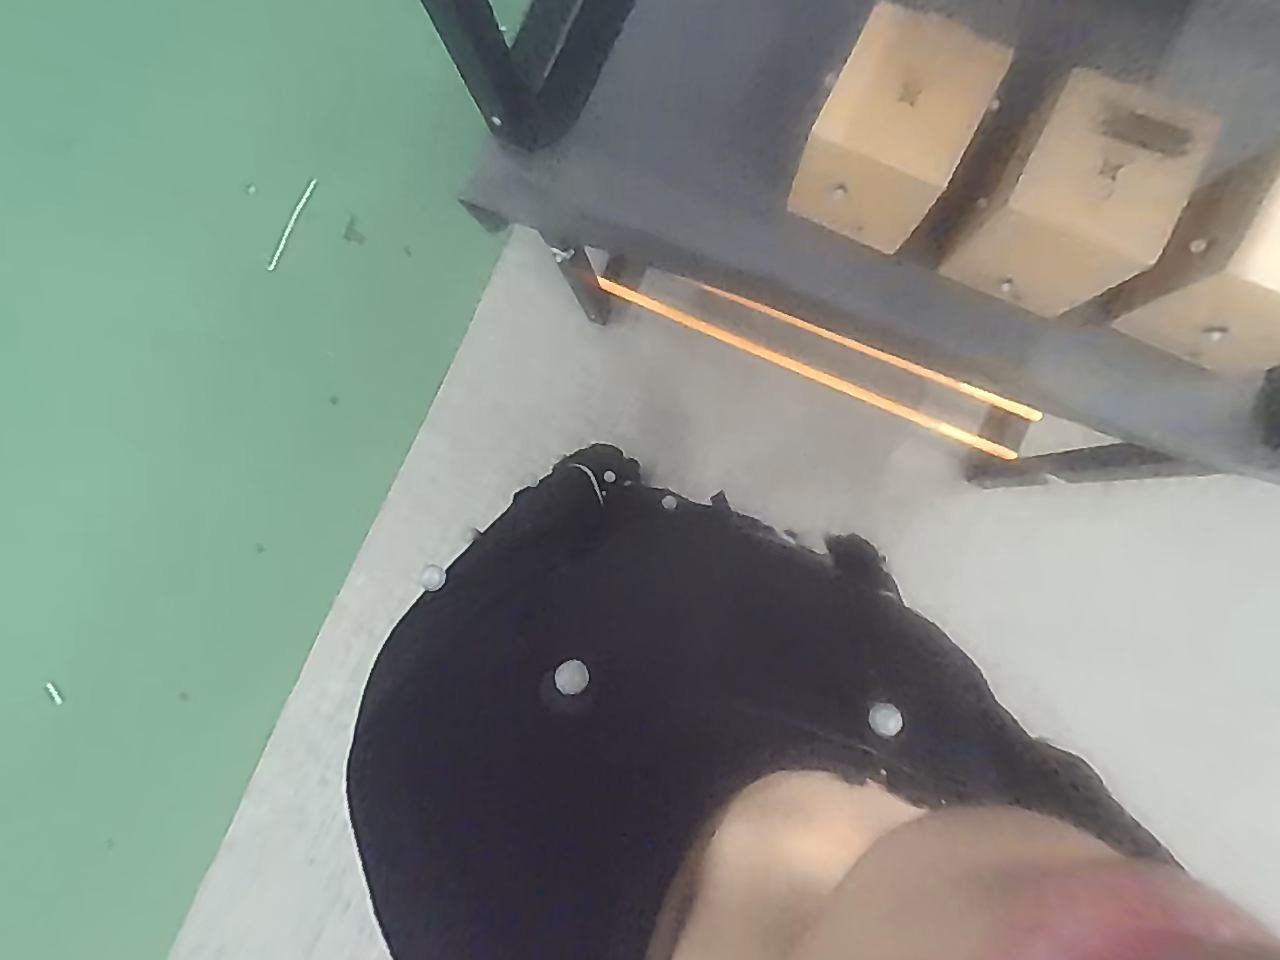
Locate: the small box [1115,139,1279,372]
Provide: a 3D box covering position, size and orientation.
[{"bbox_3d":[0.723,-0.250,0.633,0.168,0.176,0.179,29,89,6],"label":"small box"}]

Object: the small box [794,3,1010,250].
[{"bbox_3d":[0.311,-0.429,0.688,0.168,0.176,0.179,27,89,7],"label":"small box"}]
